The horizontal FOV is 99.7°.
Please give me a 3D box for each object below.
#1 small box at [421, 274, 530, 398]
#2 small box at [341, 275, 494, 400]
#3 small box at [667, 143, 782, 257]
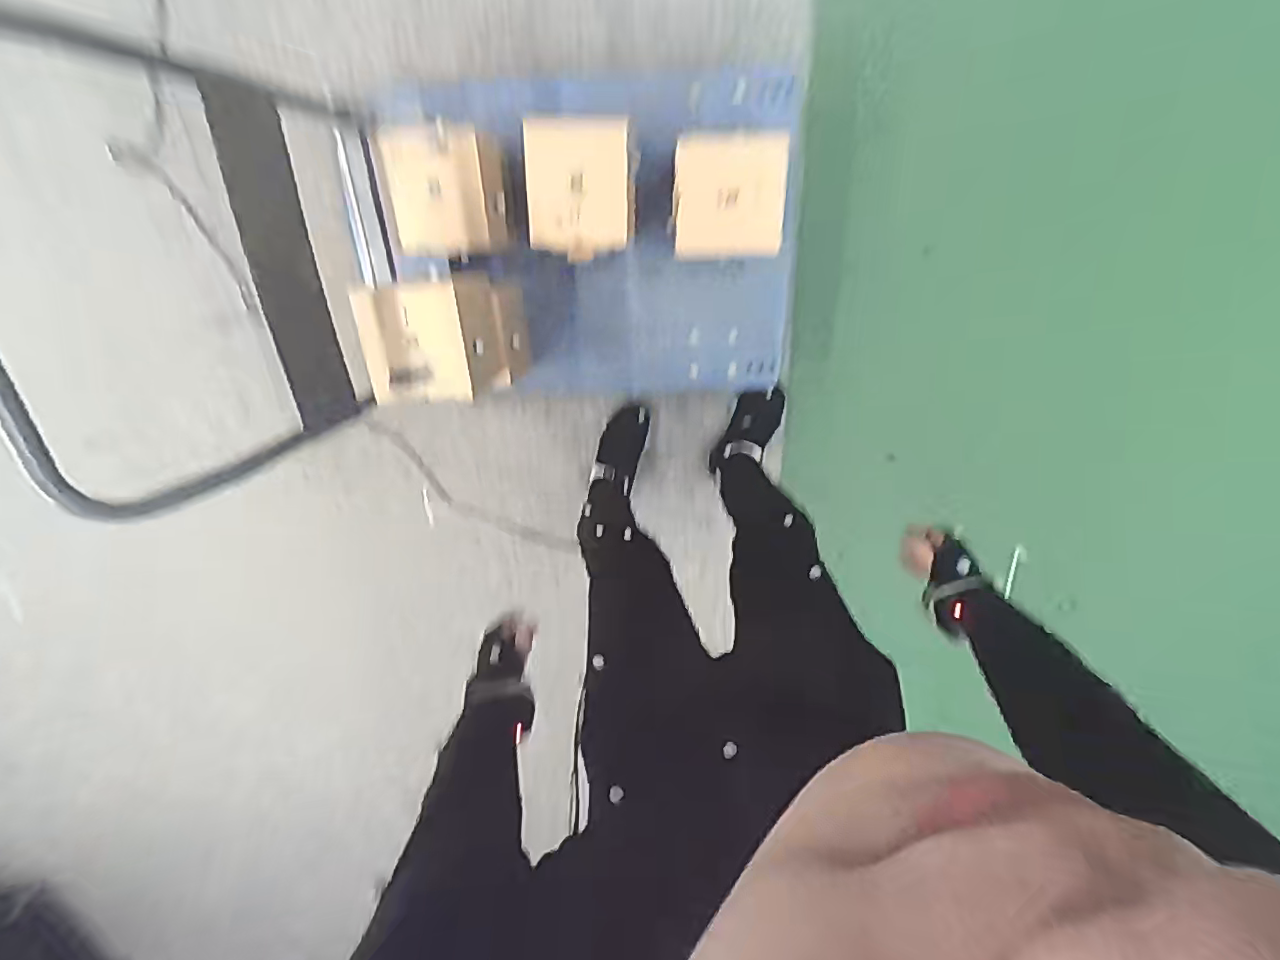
[{"bbox_3d":[-0.343,-0.291,1.069,0.179,0.176,0.168,27,115,-8],"label":"small box"},{"bbox_3d":[-0.355,-0.242,0.903,0.168,0.176,0.179,-1,113,3],"label":"small box"},{"bbox_3d":[0.139,-0.481,0.944,0.179,0.176,0.168,1,115,4],"label":"small box"}]
